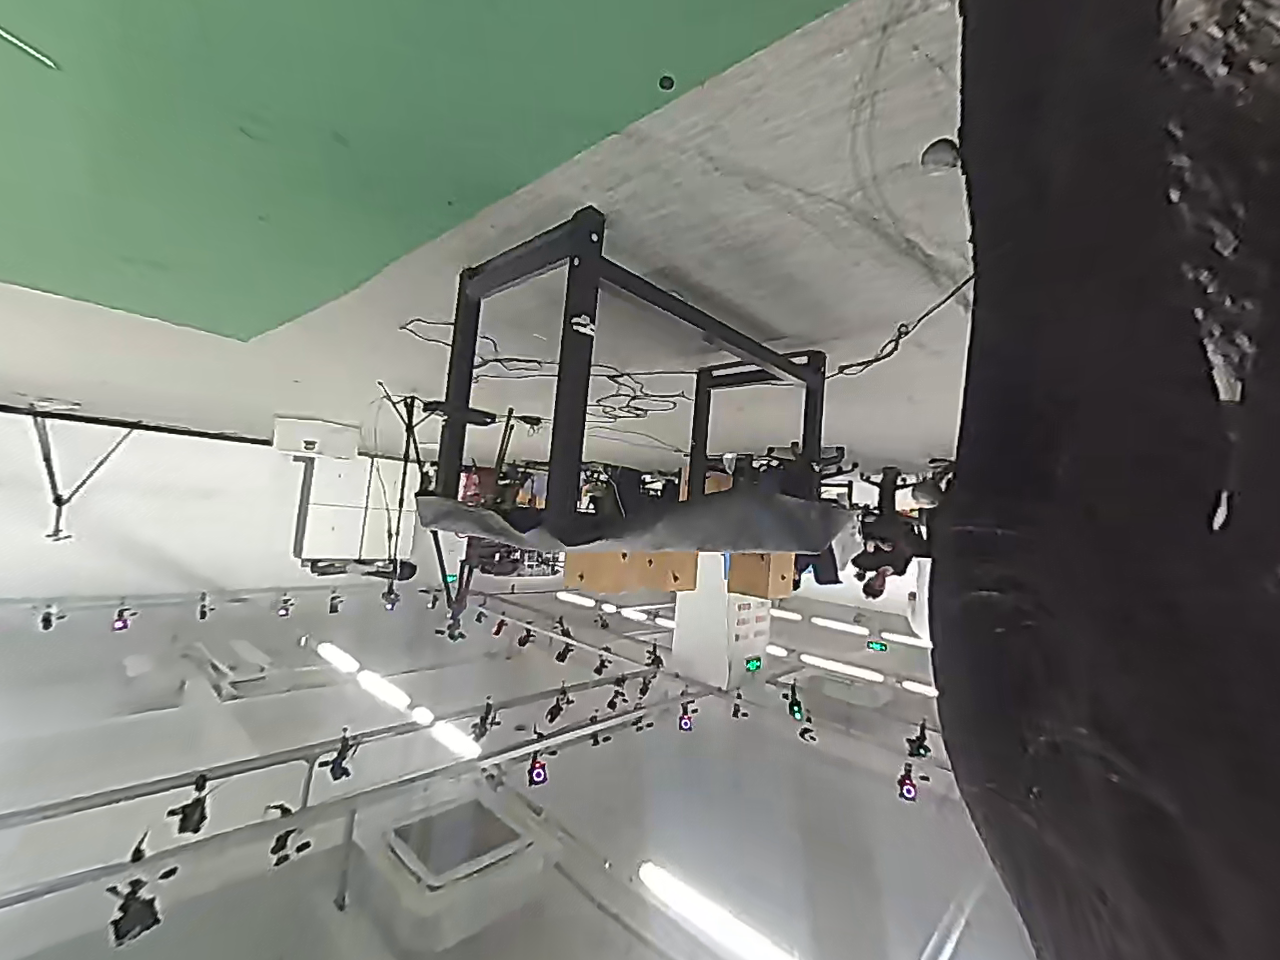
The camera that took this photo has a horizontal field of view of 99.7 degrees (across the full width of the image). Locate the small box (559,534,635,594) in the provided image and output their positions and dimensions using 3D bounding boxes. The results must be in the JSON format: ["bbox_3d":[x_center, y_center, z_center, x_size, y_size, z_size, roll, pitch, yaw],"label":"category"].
[{"bbox_3d":[-0.130,0.259,1.697,0.179,0.176,0.168,0,174,43],"label":"small box"}]

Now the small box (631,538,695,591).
[{"bbox_3d":[0.078,0.294,1.896,0.168,0.176,0.179,0,174,41],"label":"small box"}]

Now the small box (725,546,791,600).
[{"bbox_3d":[0.421,0.325,1.919,0.168,0.176,0.179,2,175,43],"label":"small box"}]
